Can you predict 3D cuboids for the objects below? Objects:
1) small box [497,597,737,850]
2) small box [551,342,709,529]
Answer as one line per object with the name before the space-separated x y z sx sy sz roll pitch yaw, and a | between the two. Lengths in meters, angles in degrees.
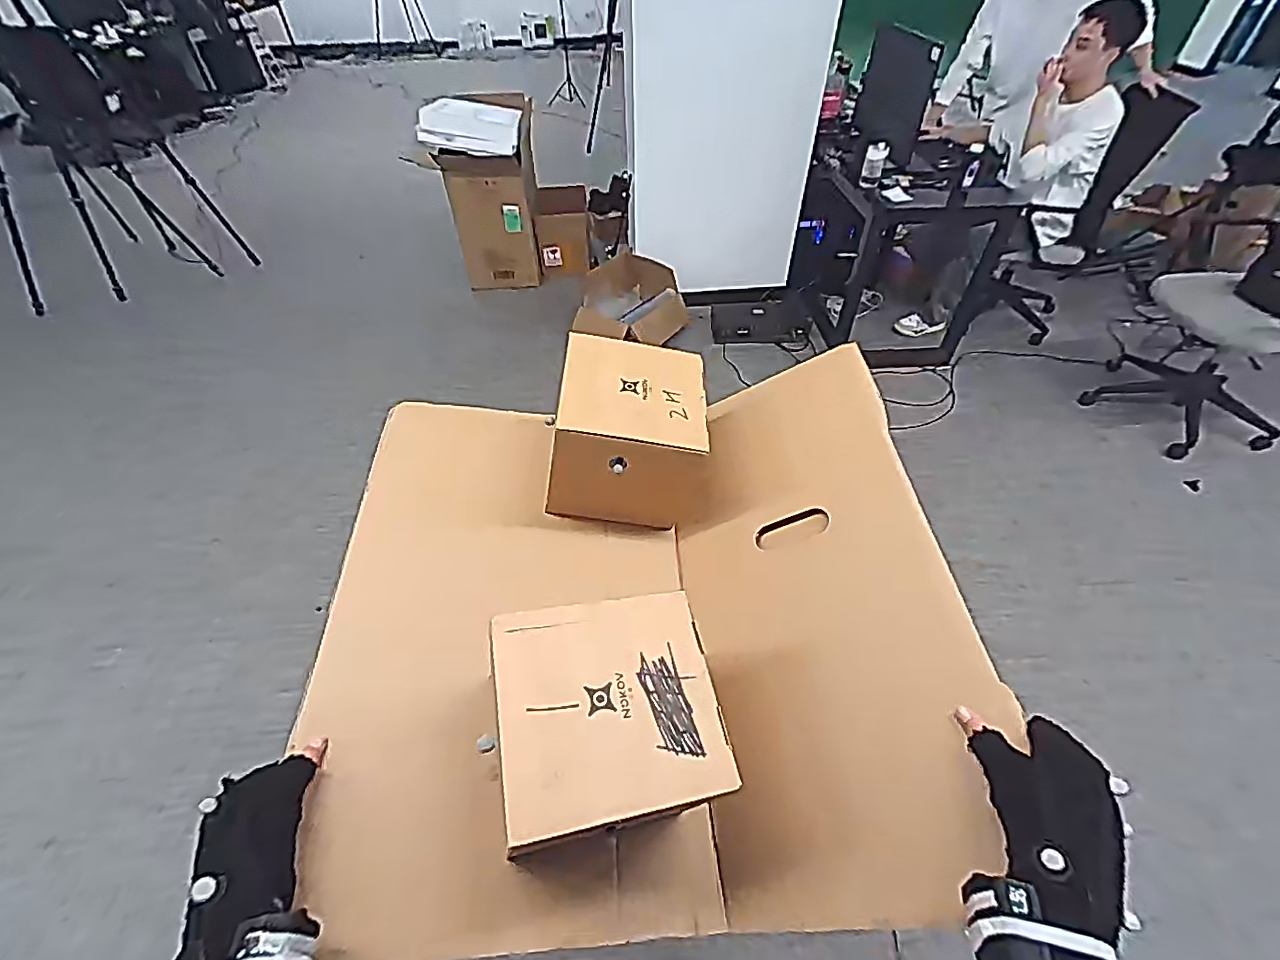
small box | -0.038 0.225 0.500 0.179 0.176 0.168 -4 55 -17
small box | -0.018 -0.052 0.714 0.179 0.176 0.168 9 52 -9
